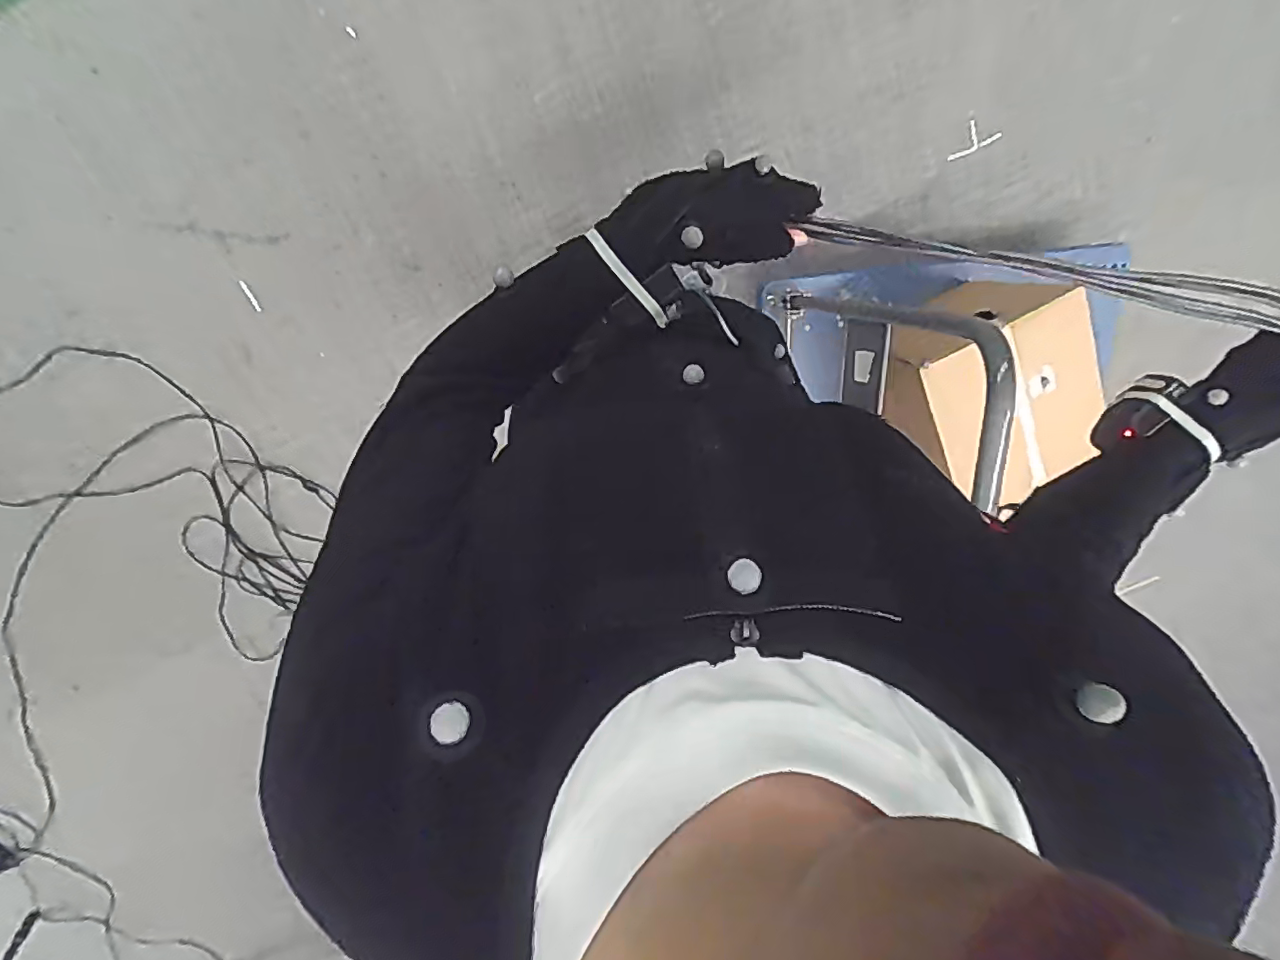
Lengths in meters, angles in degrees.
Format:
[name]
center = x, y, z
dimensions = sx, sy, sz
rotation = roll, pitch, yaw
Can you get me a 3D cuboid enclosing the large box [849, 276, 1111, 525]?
[large box]
center = 0.716, -0.185, 1.177
dimensions = 0.320, 0.320, 0.408
rotation = -27, 111, 6
